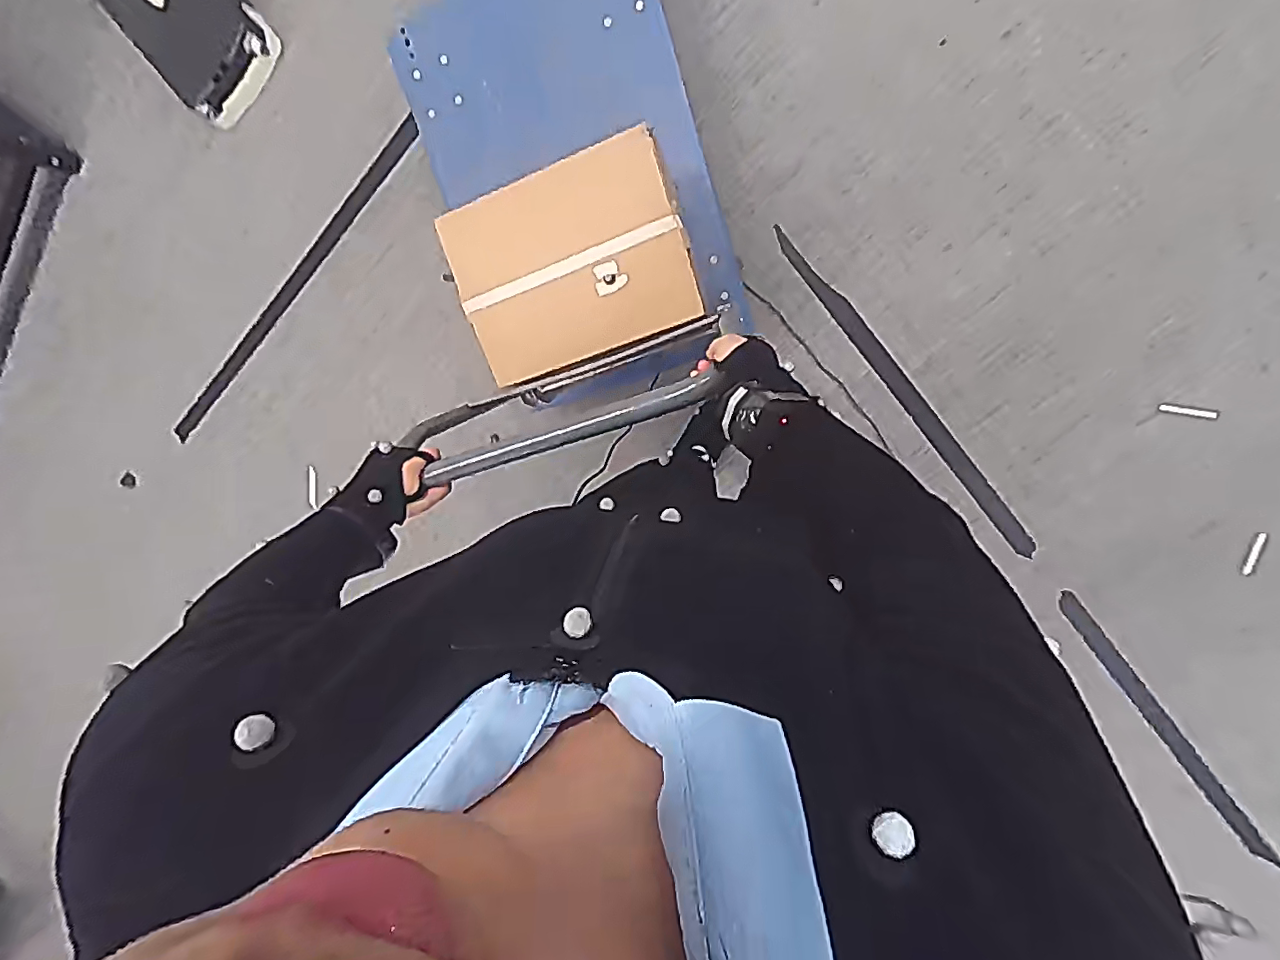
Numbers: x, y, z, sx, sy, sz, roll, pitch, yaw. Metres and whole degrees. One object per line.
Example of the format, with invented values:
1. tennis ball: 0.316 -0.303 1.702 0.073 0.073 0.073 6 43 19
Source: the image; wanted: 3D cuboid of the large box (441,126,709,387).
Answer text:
1. large box: -0.101 -0.407 1.082 0.408 0.320 0.320 -17 102 13
